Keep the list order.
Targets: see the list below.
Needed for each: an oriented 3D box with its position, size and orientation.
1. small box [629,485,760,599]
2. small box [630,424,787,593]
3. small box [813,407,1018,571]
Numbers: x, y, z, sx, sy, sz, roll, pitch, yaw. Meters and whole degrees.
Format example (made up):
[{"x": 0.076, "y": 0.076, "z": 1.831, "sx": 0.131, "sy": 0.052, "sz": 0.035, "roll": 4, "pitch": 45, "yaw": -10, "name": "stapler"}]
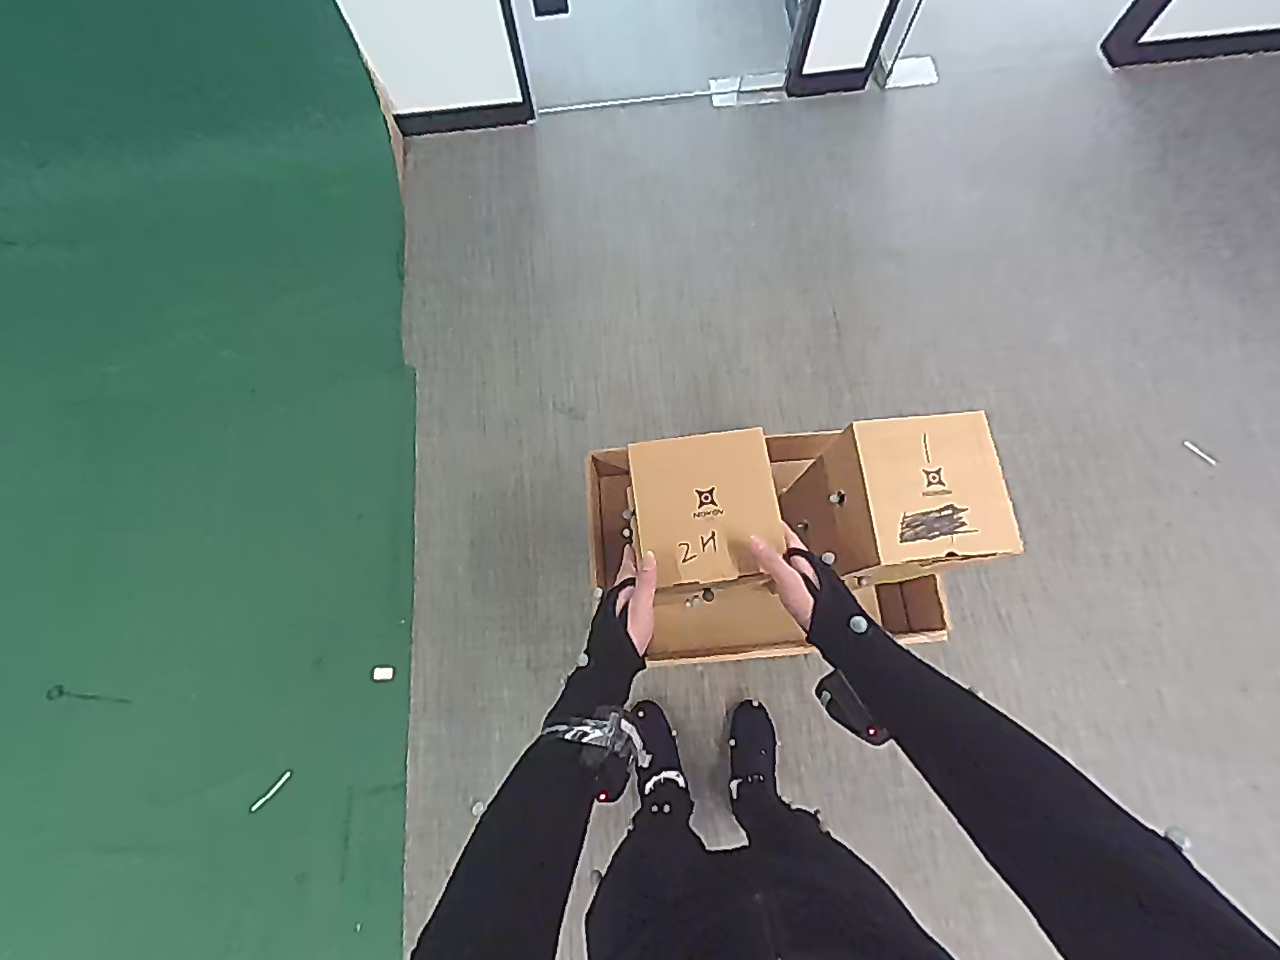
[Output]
[{"x": 0.077, "y": 0.094, "z": 0.859, "sx": 0.179, "sy": 0.176, "sz": 0.168, "roll": -7, "pitch": 74, "yaw": -2, "name": "small box"}, {"x": 0.076, "y": 0.045, "z": 0.701, "sx": 0.168, "sy": 0.176, "sz": 0.179, "roll": -7, "pitch": 75, "yaw": -1, "name": "small box"}, {"x": 0.339, "y": 0.022, "z": 0.704, "sx": 0.168, "sy": 0.176, "sz": 0.179, "roll": -4, "pitch": 73, "yaw": -1, "name": "small box"}]
